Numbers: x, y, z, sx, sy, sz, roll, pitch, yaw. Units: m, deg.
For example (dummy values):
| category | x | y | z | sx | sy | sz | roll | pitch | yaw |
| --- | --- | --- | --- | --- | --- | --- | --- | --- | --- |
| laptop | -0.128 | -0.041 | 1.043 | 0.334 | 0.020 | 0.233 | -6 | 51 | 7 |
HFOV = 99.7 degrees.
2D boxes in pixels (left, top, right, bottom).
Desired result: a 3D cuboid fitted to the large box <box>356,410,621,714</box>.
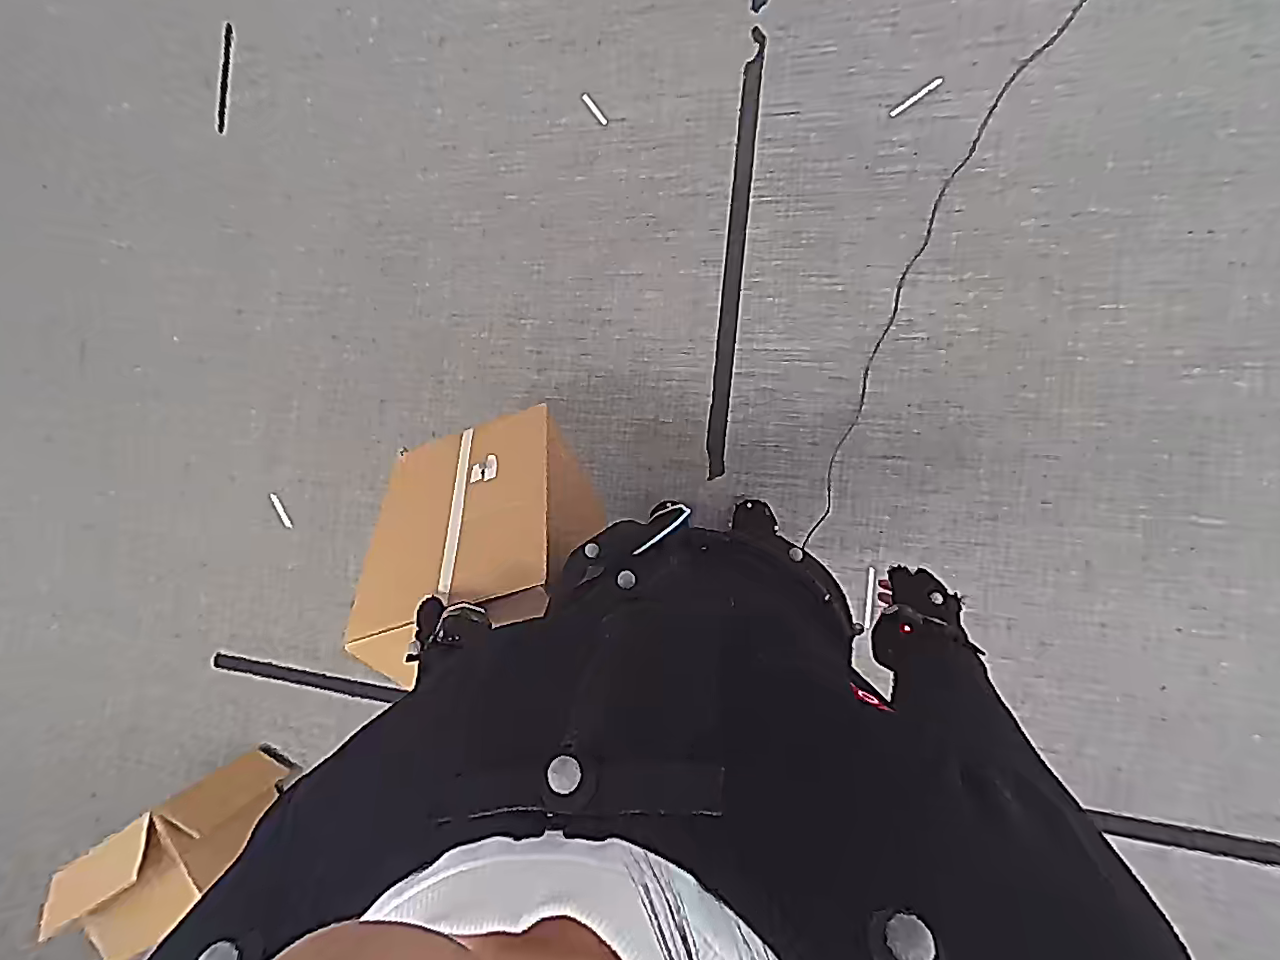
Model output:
| category | x | y | z | sx | sy | sz | roll | pitch | yaw |
| --- | --- | --- | --- | --- | --- | --- | --- | --- | --- |
| large box | -0.243 | 0.147 | 0.995 | 0.320 | 0.320 | 0.408 | -17 | 43 | 8 |
